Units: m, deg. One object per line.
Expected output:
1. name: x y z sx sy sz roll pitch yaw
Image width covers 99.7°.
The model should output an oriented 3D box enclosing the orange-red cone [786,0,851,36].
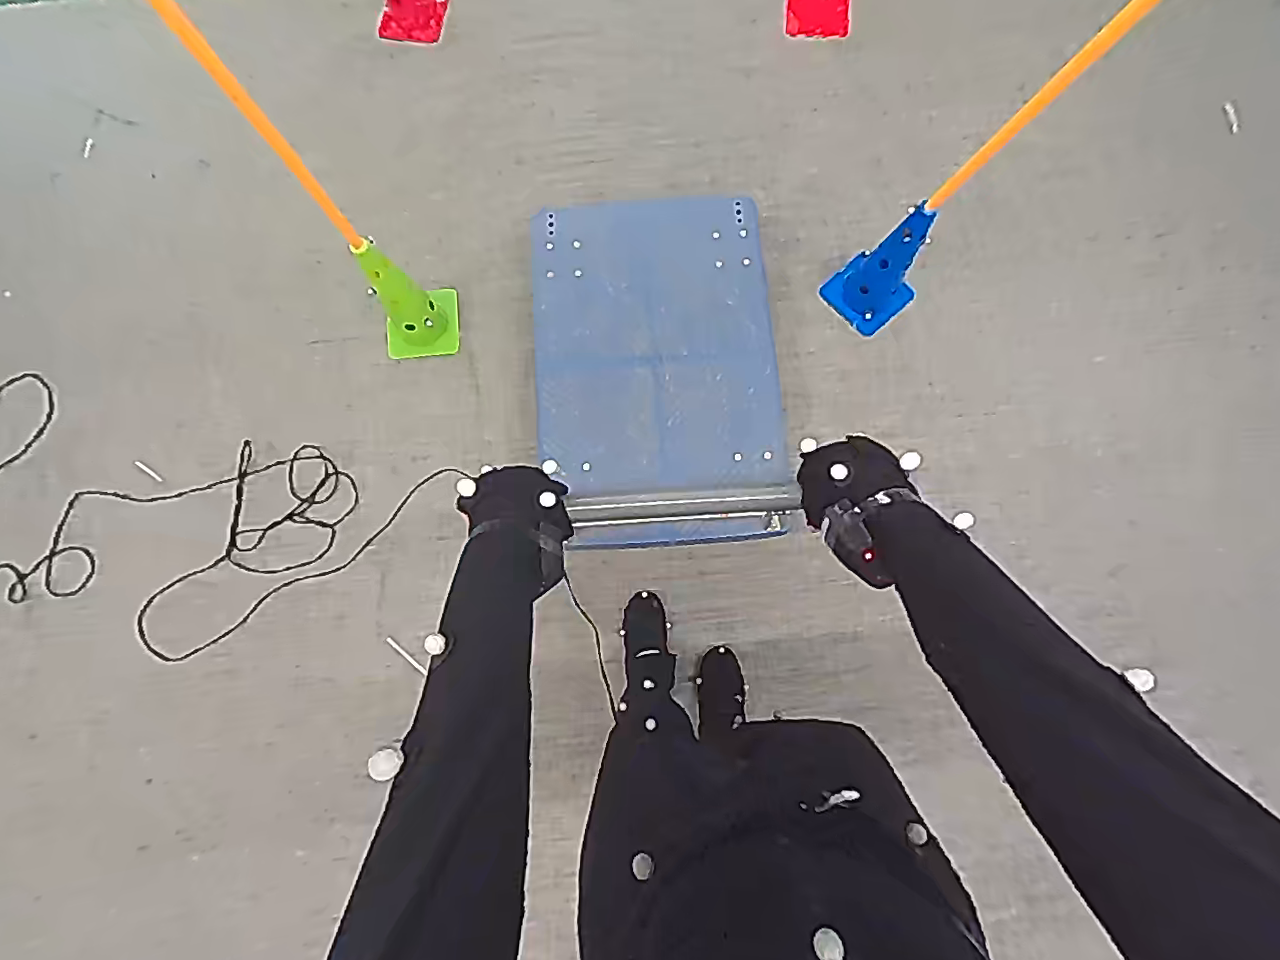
1. orange-red cone: 0.556 -1.512 1.532 0.198 0.360 0.199 6 80 4
